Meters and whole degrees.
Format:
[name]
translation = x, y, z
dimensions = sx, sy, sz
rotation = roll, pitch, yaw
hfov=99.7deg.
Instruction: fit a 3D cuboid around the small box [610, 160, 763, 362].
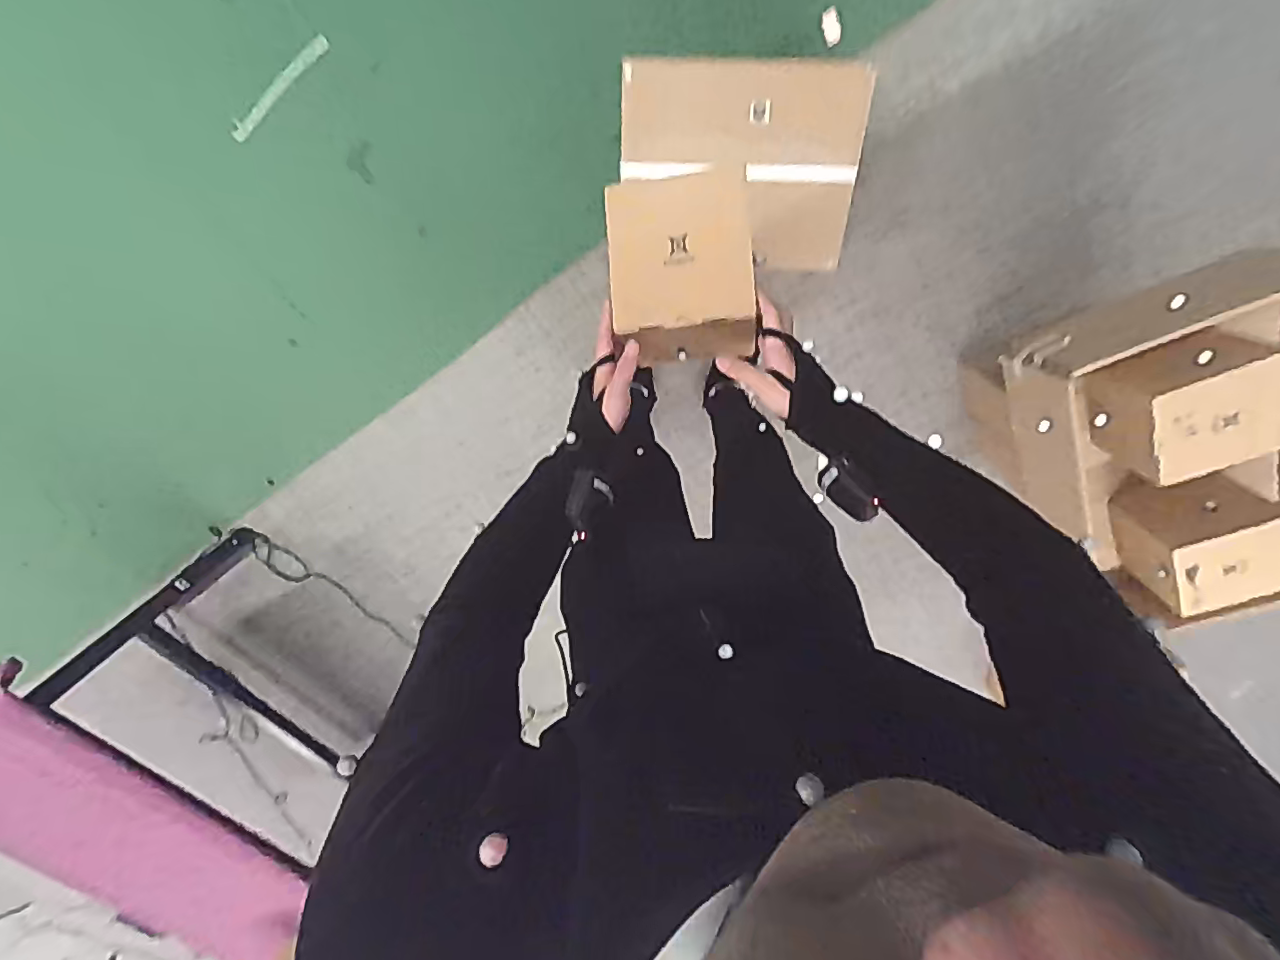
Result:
[small box]
translation = 0.062, -0.260, 0.683
dimensions = 0.168, 0.176, 0.179
rotation = -4, 90, 10
